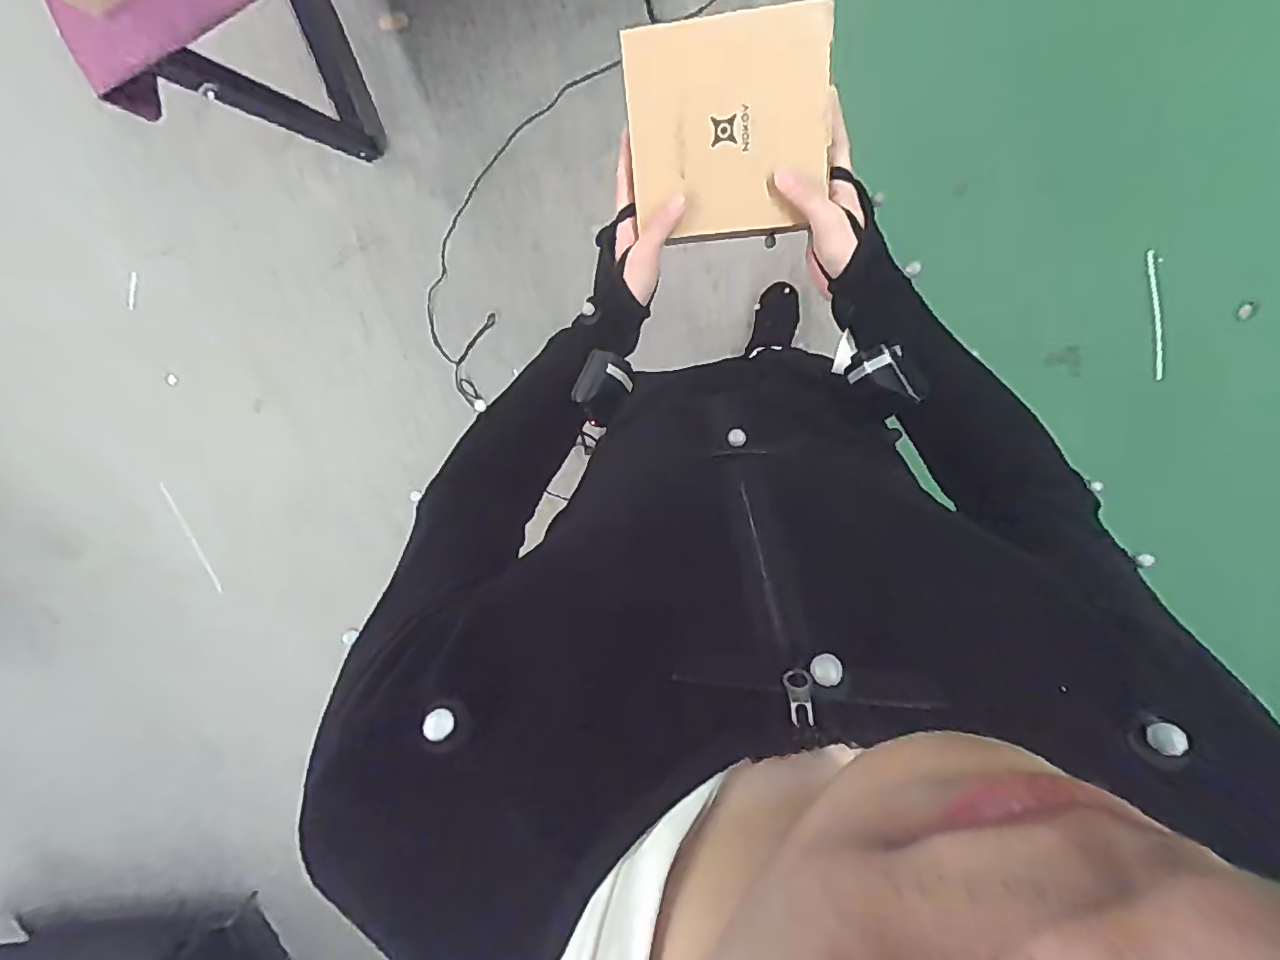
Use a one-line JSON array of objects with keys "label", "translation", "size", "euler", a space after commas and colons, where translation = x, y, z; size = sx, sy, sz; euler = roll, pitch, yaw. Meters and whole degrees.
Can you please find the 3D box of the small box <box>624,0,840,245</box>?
[{"label": "small box", "translation": [0.086, -0.331, 0.538], "size": [0.179, 0.176, 0.168], "euler": [-2, 111, 8]}]
